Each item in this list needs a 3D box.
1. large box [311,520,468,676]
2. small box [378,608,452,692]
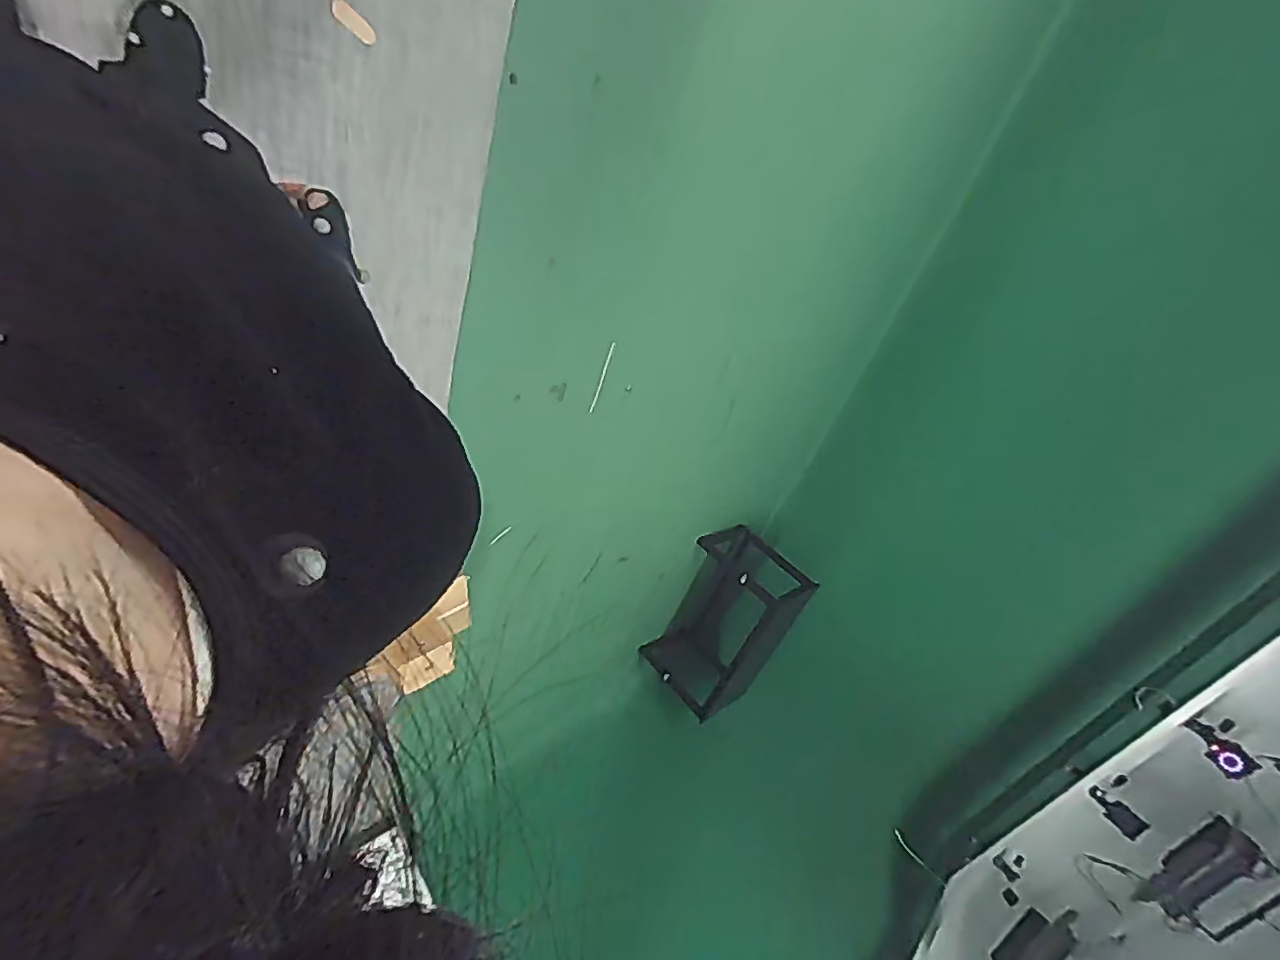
[{"bbox_3d":[-0.887,0.411,1.951,0.408,0.320,0.320,-25,143,-35],"label":"large box"},{"bbox_3d":[-0.750,0.560,1.808,0.179,0.176,0.168,-21,138,-36],"label":"small box"}]
